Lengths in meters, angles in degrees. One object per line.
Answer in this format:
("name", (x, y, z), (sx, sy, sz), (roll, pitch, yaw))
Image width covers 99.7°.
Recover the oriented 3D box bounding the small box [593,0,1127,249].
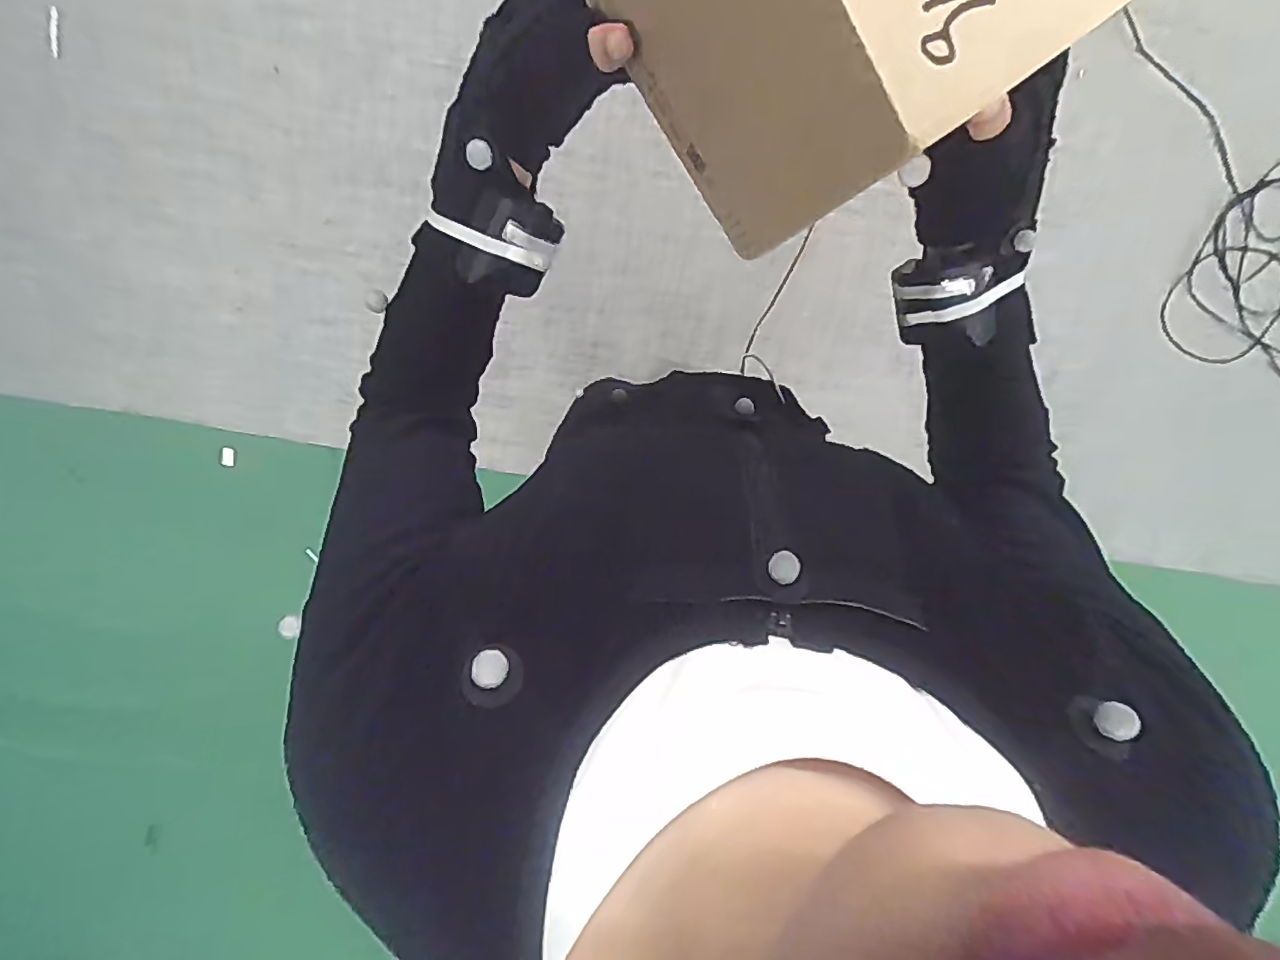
("small box", (0.095, -0.227, 0.217), (0.179, 0.176, 0.168), (-36, 103, 0))
